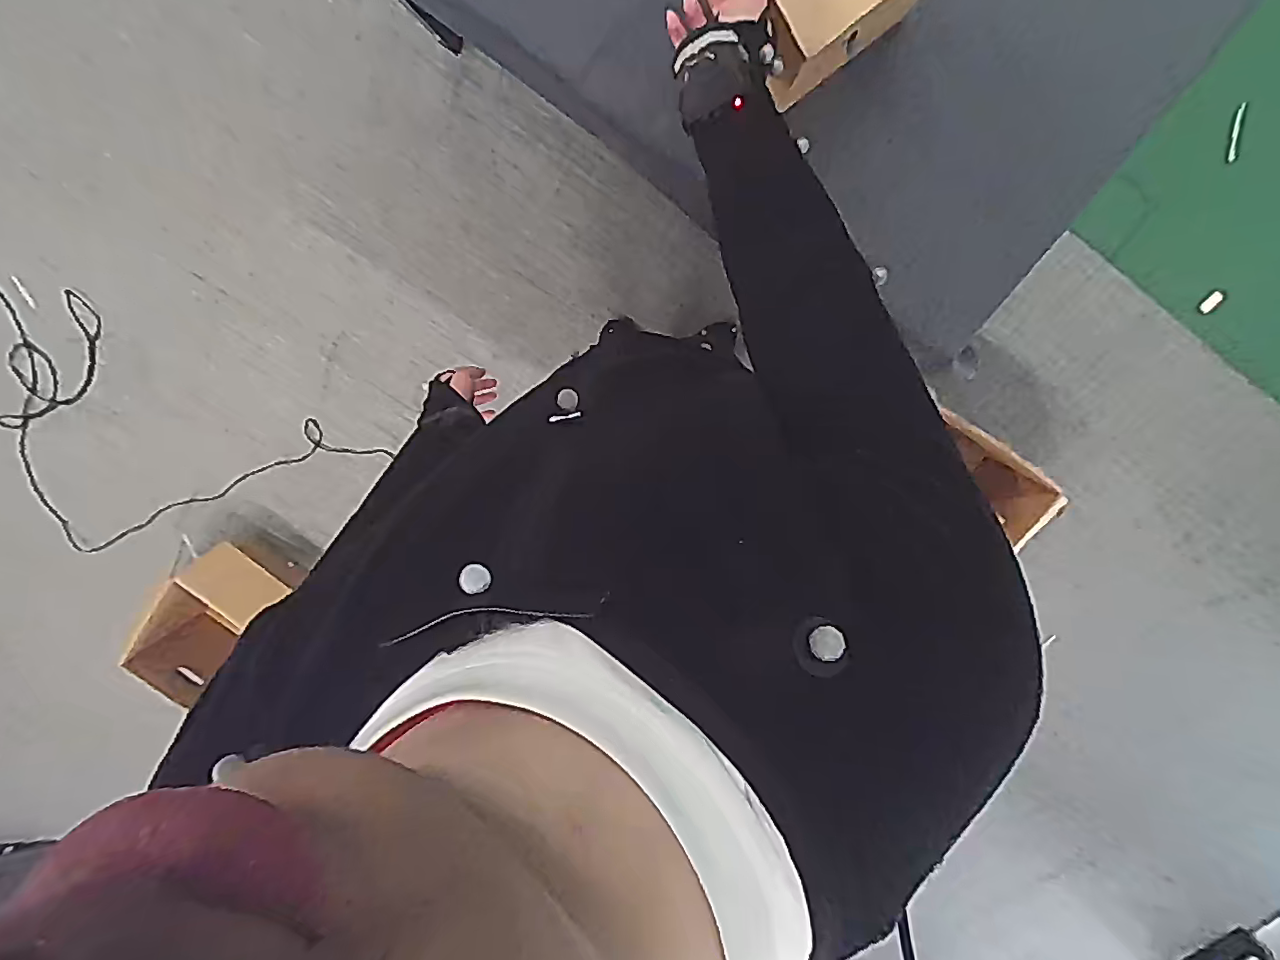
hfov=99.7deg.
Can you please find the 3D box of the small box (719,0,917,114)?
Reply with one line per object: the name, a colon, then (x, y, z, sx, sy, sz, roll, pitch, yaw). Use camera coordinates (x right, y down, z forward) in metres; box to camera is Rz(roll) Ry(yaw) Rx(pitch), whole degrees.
small box: (0.189, -0.532, 0.564, 0.179, 0.176, 0.168, -33, 103, 15)
